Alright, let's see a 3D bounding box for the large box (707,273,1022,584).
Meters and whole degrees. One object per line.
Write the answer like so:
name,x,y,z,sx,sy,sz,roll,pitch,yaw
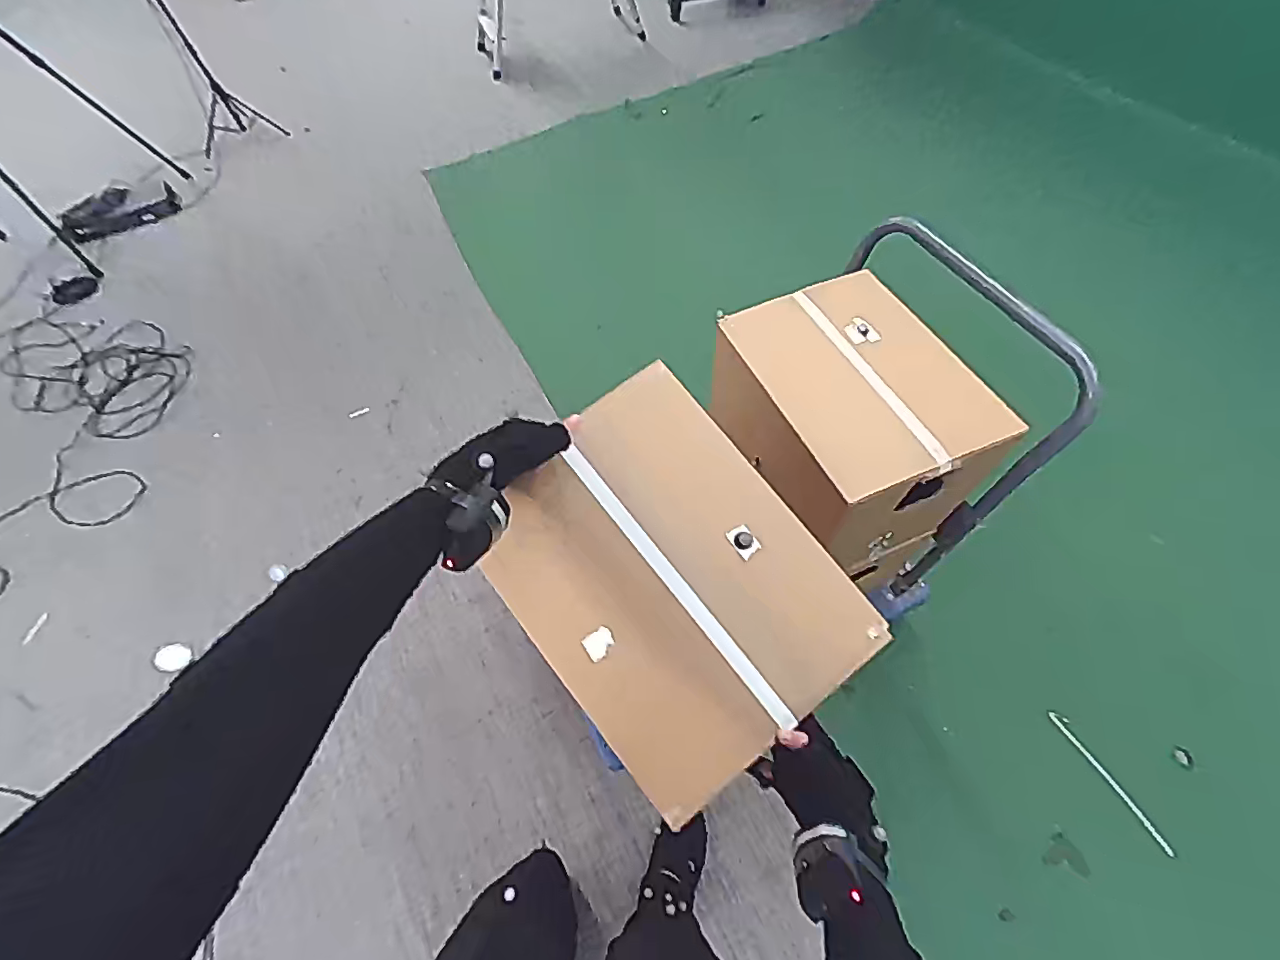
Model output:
large box,0.348,-0.090,0.979,0.320,0.320,0.408,-21,58,-9
